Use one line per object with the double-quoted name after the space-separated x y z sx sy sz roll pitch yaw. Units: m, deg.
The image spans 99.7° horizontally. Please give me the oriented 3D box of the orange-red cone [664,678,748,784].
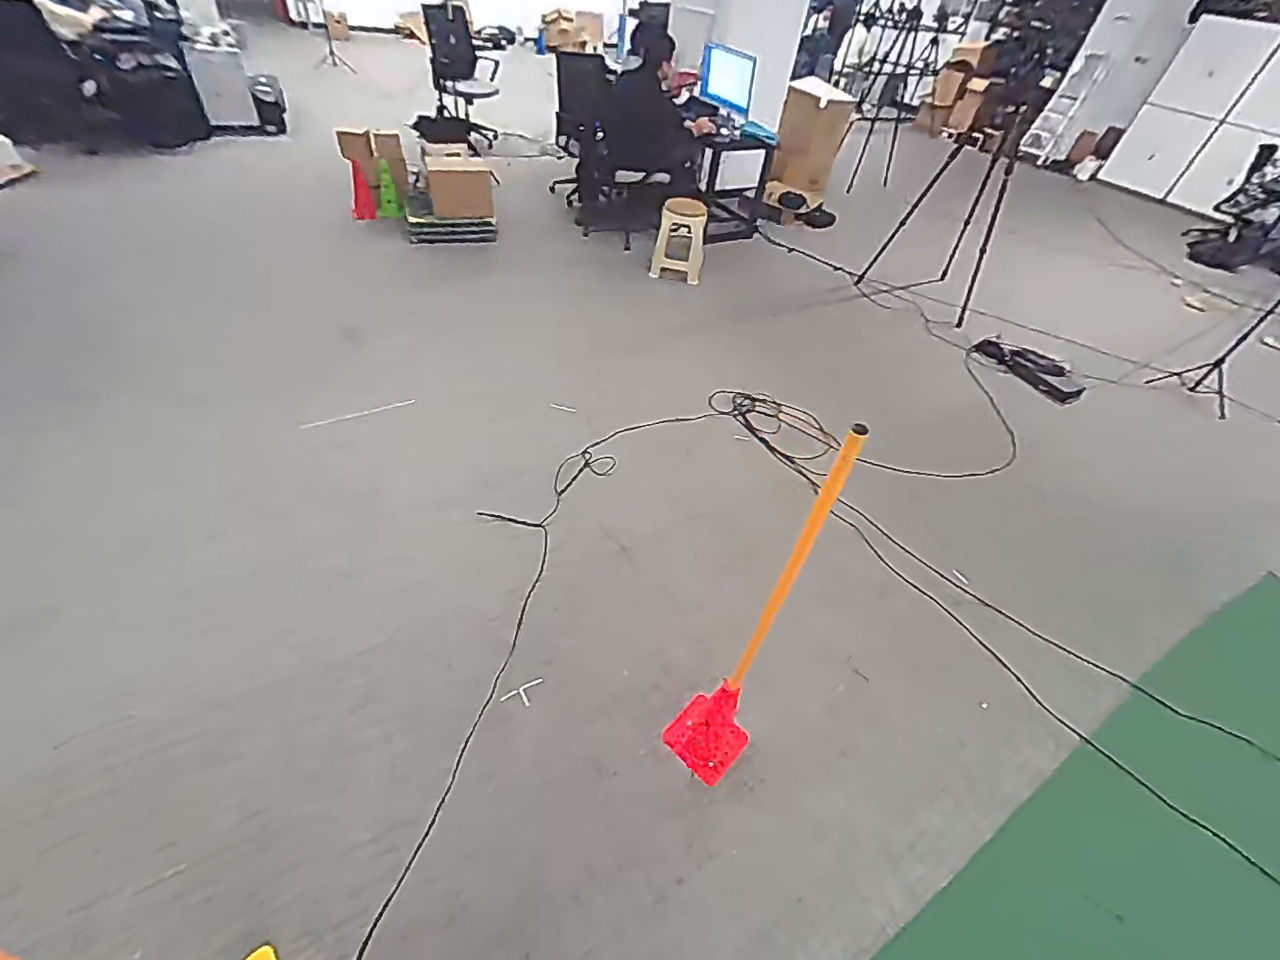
0.217 0.636 1.476 0.198 0.360 0.199 38 50 26 "orange-red cone"
